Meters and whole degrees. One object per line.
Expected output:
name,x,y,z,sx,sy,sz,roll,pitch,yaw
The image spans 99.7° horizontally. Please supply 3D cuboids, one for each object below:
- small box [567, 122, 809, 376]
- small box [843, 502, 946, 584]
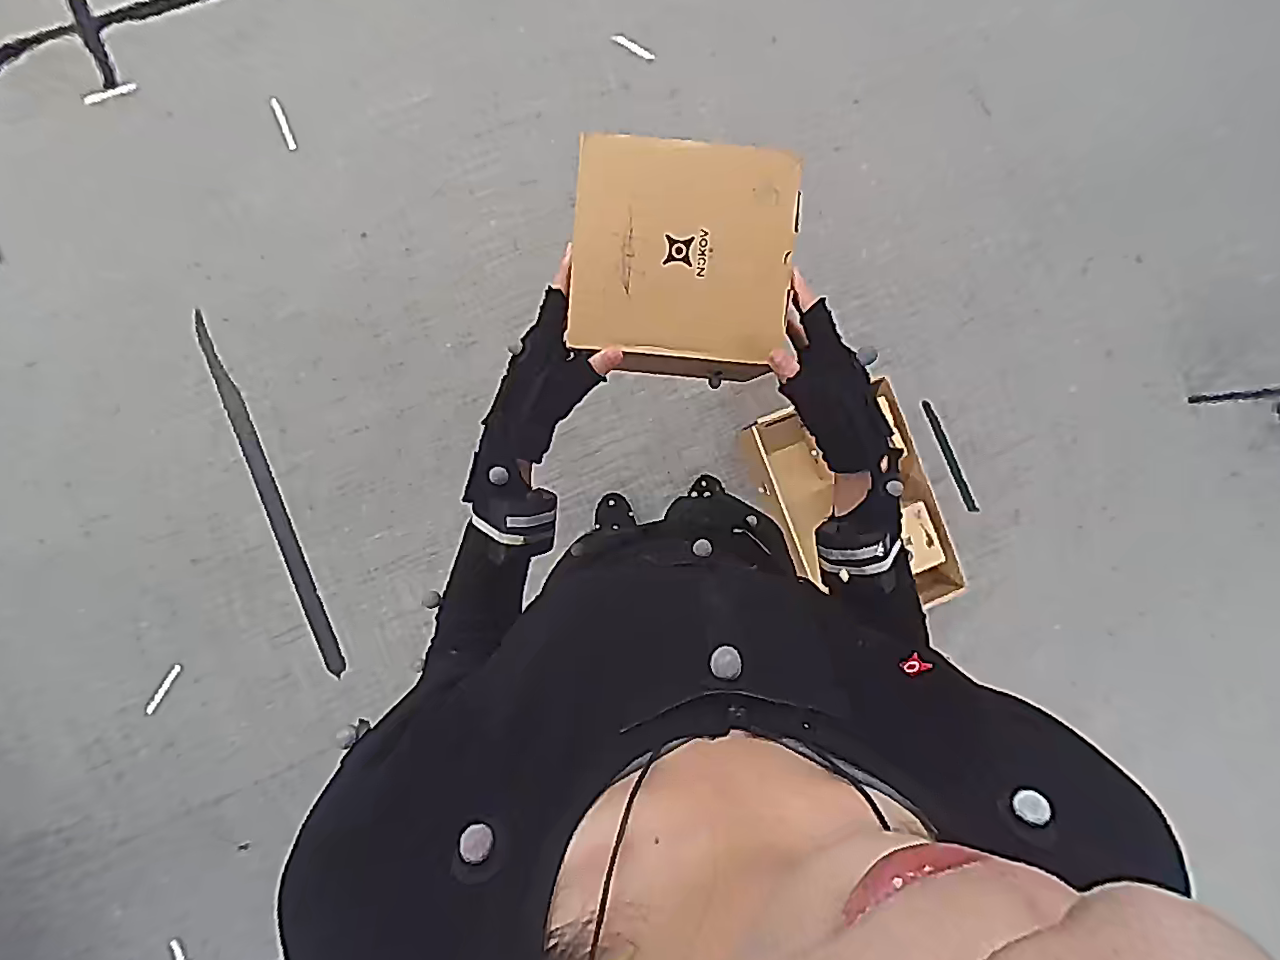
small box,0.036,-0.188,0.491,0.179,0.176,0.168,4,95,1
small box,0.670,0.165,1.453,0.179,0.176,0.168,-20,89,-4
